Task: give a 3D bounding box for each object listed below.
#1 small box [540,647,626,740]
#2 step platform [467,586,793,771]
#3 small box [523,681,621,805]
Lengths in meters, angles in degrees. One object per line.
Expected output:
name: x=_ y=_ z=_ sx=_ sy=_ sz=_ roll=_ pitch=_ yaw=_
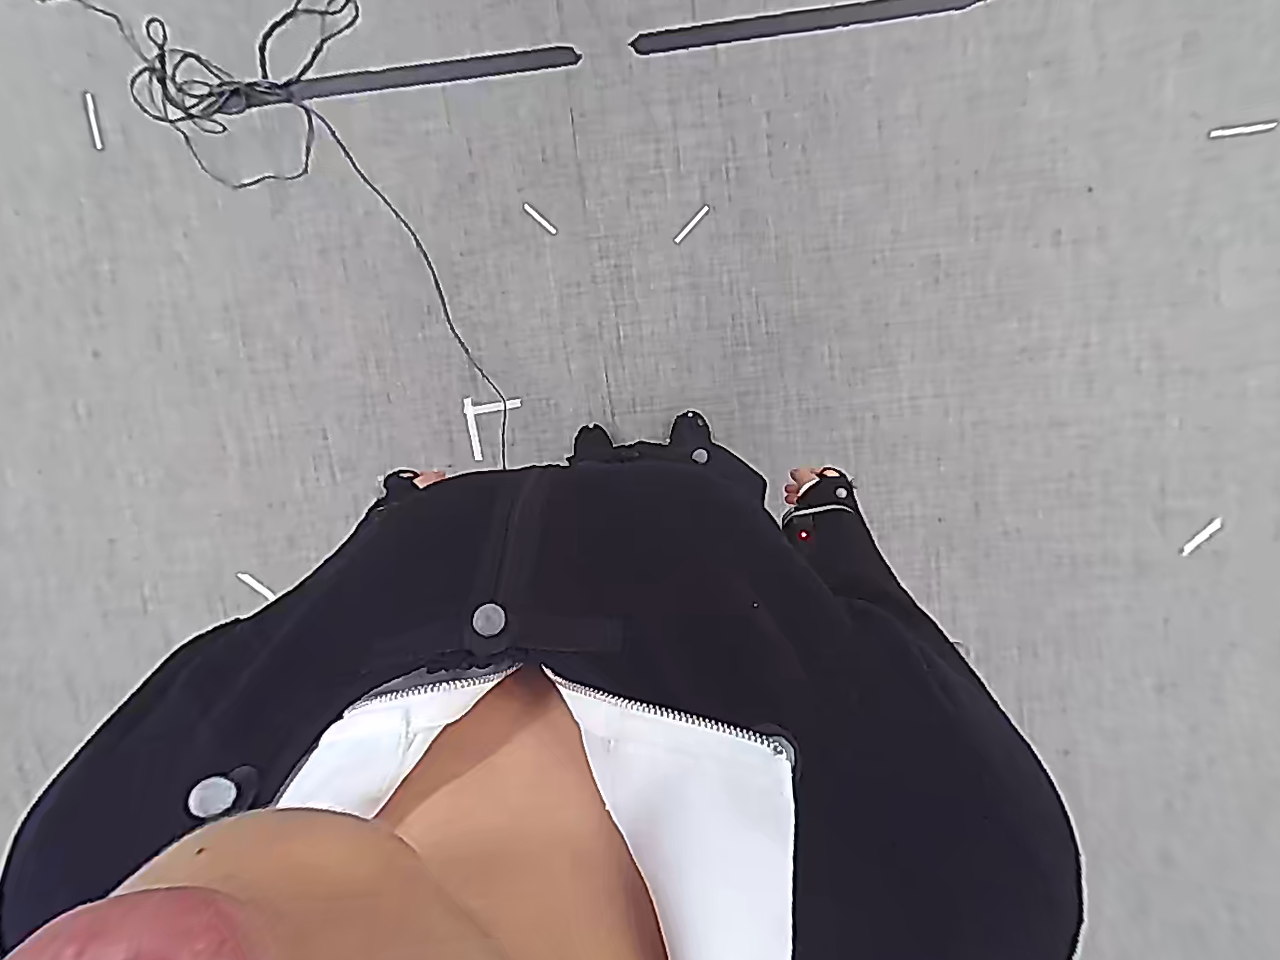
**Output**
small box: x=-0.126 y=0.497 z=1.275 sx=0.179 sy=0.176 sz=0.168 roll=-6 pitch=96 yaw=2
step platform: x=-0.018 y=0.435 z=1.227 sx=0.684 sy=0.204 sz=0.286 roll=-8 pitch=97 yaw=4
small box: x=-0.132 y=0.533 z=1.115 sx=0.179 sy=0.176 sz=0.168 roll=-5 pitch=97 yaw=1
